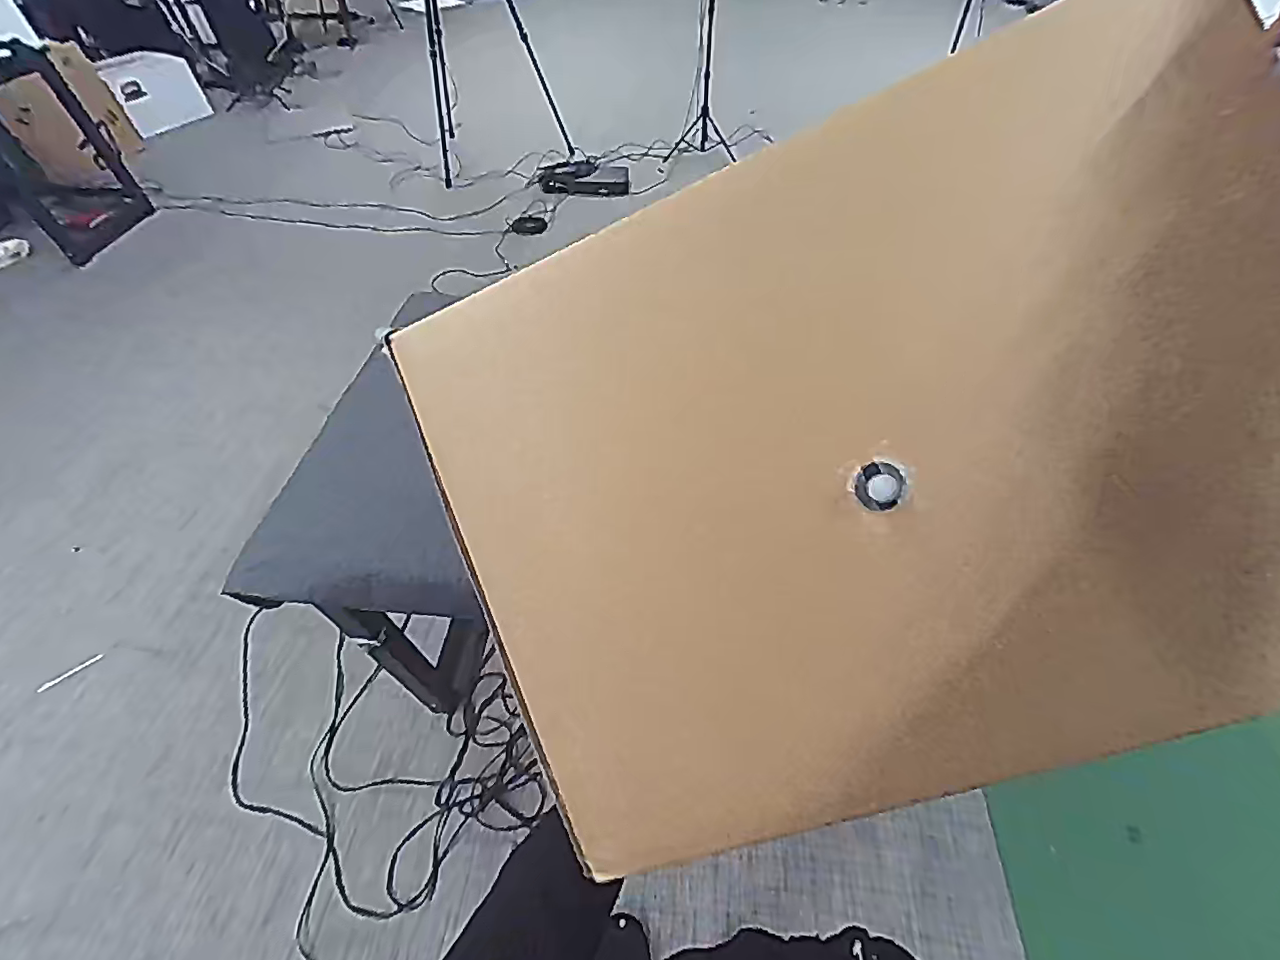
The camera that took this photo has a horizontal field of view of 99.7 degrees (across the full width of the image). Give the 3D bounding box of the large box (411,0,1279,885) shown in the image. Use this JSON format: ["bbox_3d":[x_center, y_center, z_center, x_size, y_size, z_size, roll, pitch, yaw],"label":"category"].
[{"bbox_3d":[0.137,-0.002,0.404,0.408,0.320,0.320,-23,87,9],"label":"large box"}]
